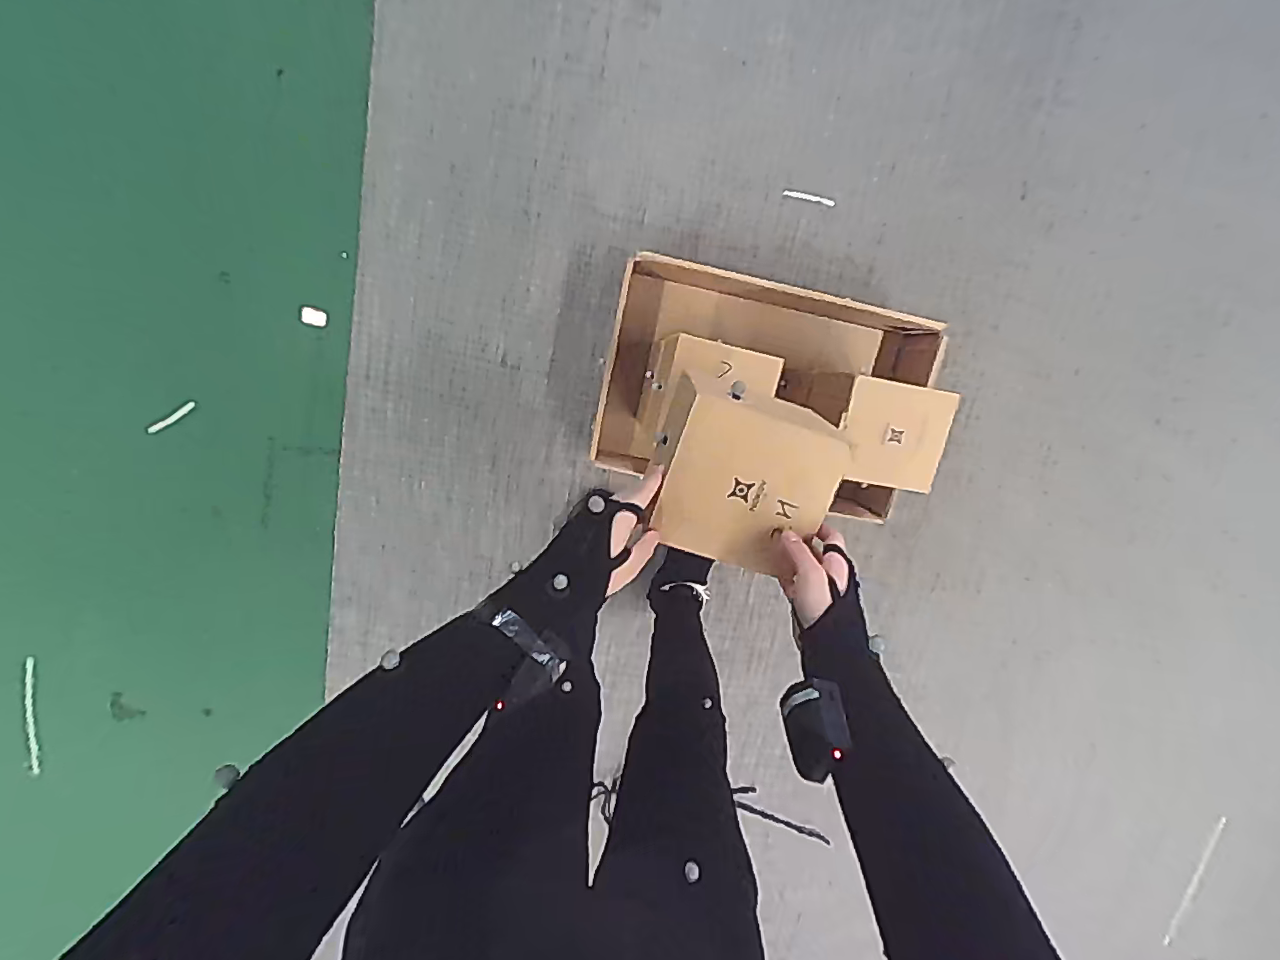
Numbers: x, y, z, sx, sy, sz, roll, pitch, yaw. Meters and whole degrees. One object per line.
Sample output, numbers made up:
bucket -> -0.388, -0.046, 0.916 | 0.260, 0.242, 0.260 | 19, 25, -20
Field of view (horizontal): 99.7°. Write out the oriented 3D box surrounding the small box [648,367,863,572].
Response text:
small box -> 0.115, -0.024, 0.627 | 0.179, 0.176, 0.168 | 17, 109, -6

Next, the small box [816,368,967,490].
small box -> 0.400, -0.094, 0.917 | 0.179, 0.176, 0.168 | 9, 104, -6
